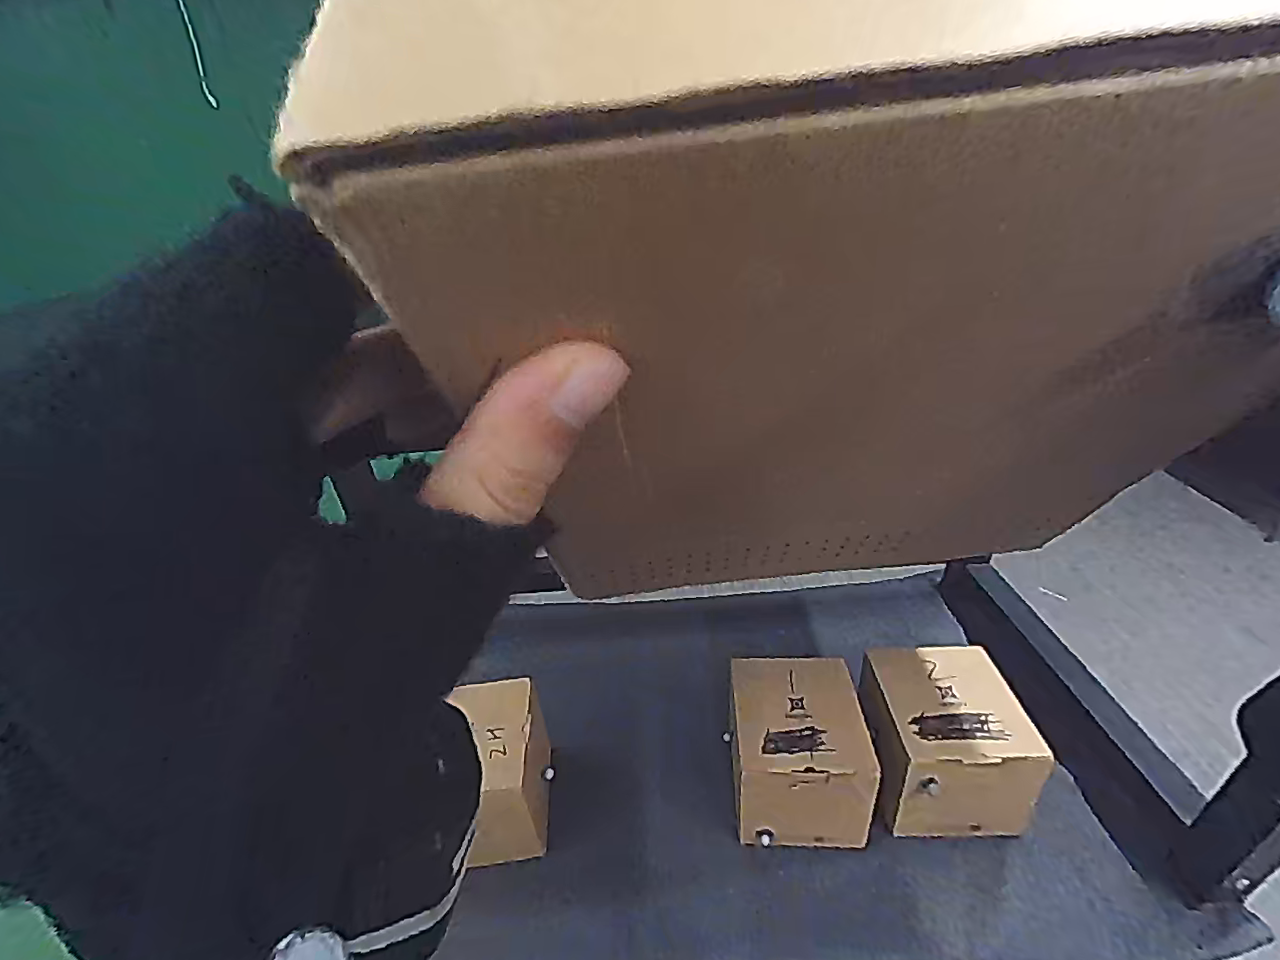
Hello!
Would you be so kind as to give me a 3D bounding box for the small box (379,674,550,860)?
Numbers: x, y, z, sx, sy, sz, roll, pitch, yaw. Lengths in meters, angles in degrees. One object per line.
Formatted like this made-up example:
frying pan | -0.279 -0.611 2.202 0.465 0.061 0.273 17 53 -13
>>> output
small box | -0.233 0.406 0.769 0.179 0.176 0.168 -6 31 -2
